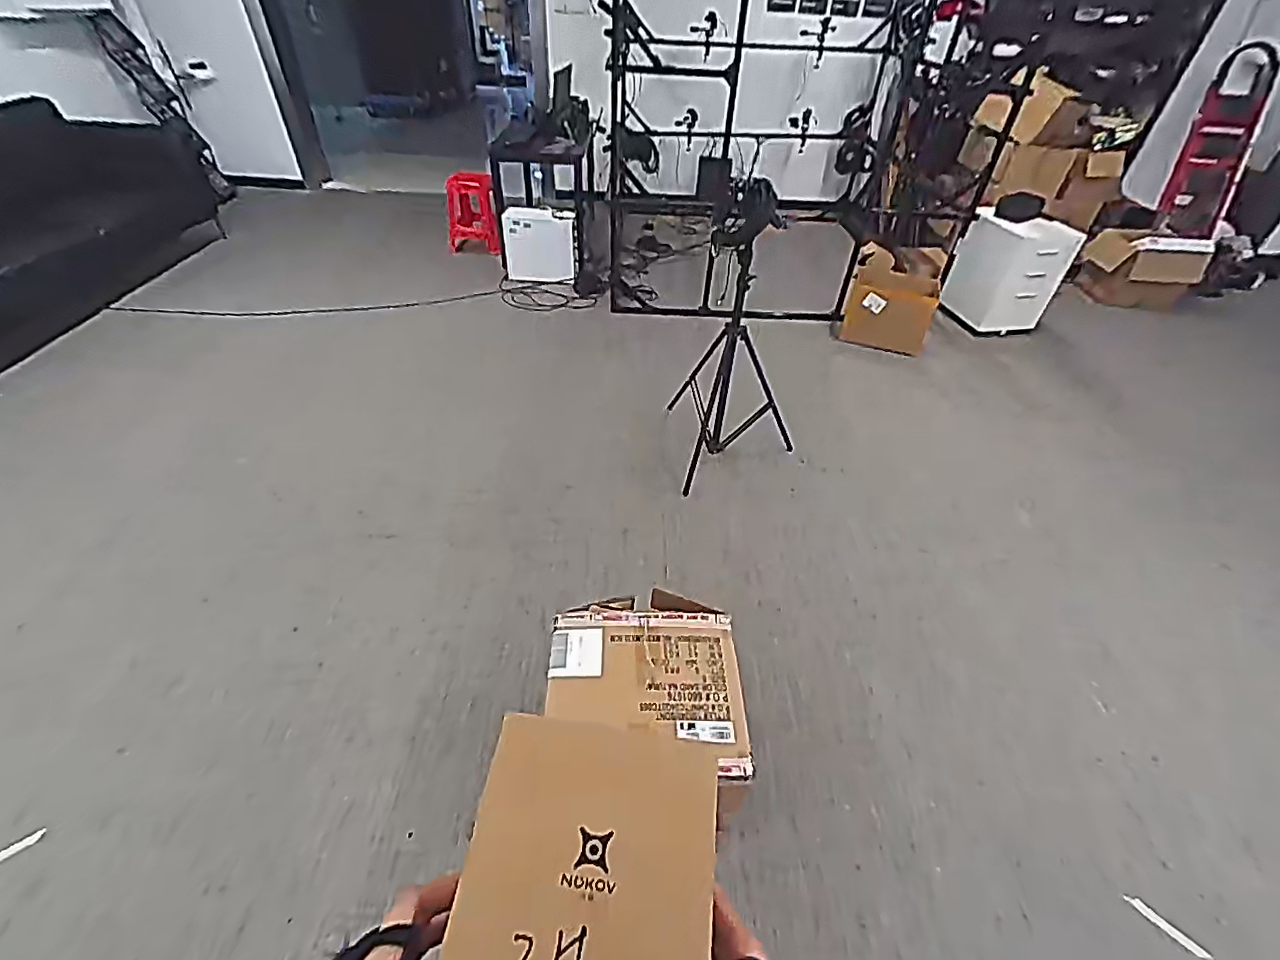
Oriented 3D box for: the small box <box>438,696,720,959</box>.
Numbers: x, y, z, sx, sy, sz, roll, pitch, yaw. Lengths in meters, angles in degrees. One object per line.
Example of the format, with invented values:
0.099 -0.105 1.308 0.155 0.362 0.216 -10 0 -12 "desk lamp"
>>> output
-0.034 0.296 0.426 0.168 0.176 0.179 7 52 4 "small box"
